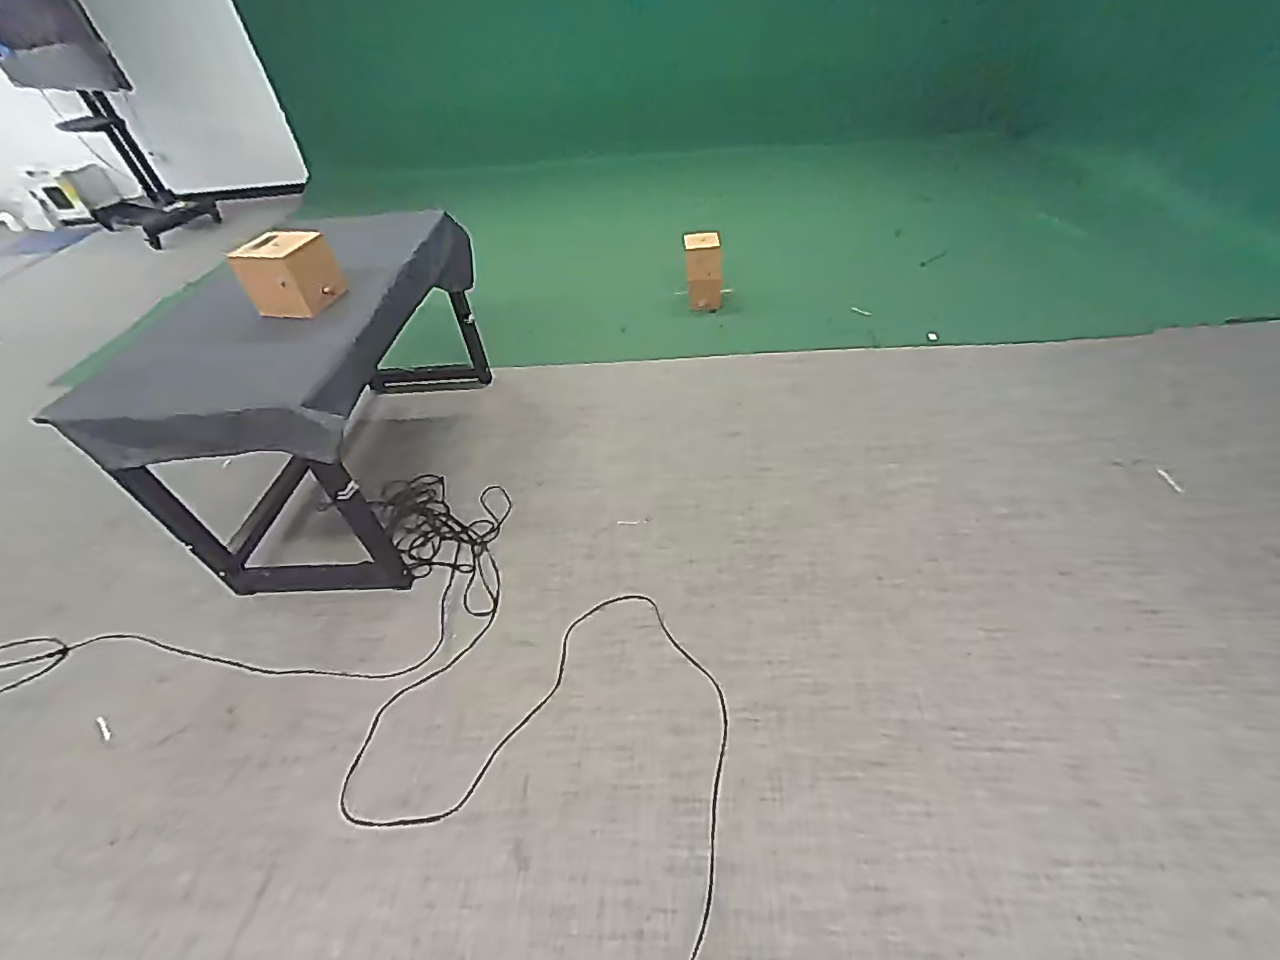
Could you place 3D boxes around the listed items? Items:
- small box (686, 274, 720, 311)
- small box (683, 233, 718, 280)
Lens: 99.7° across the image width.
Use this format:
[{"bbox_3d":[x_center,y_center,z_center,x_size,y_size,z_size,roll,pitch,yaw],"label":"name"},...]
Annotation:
[{"bbox_3d":[0.325,-1.000,2.822,0.168,0.176,0.179,-3,46,4],"label":"small box"},{"bbox_3d":[0.303,-1.111,2.705,0.168,0.176,0.179,-4,44,3],"label":"small box"}]
